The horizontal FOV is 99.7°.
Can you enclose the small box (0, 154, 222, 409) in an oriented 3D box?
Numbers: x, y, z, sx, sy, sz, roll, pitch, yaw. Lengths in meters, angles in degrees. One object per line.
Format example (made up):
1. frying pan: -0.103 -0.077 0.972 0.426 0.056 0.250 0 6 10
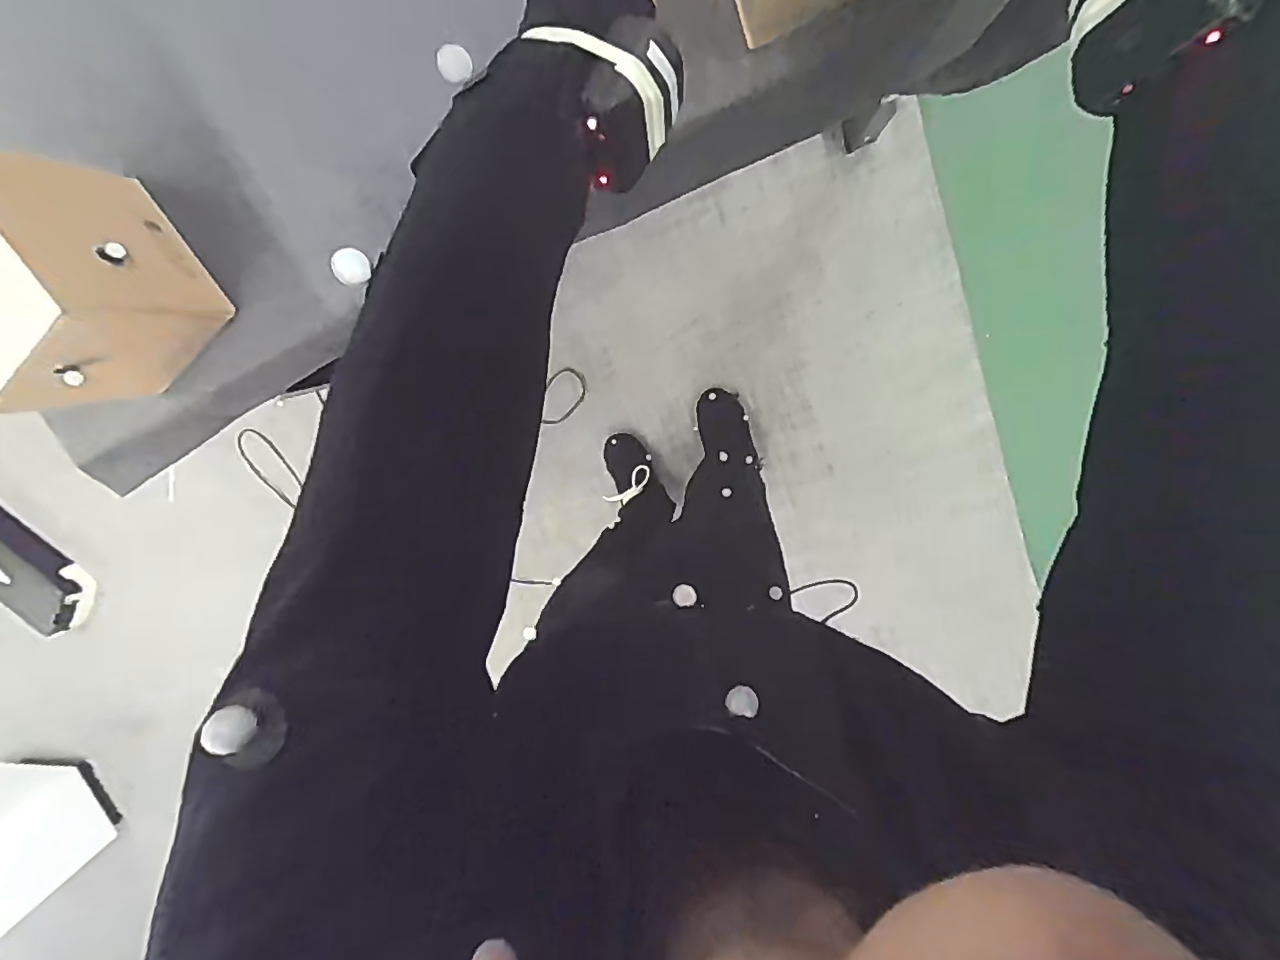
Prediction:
1. small box: -0.573 -0.195 0.537 0.179 0.176 0.168 -30 99 20
